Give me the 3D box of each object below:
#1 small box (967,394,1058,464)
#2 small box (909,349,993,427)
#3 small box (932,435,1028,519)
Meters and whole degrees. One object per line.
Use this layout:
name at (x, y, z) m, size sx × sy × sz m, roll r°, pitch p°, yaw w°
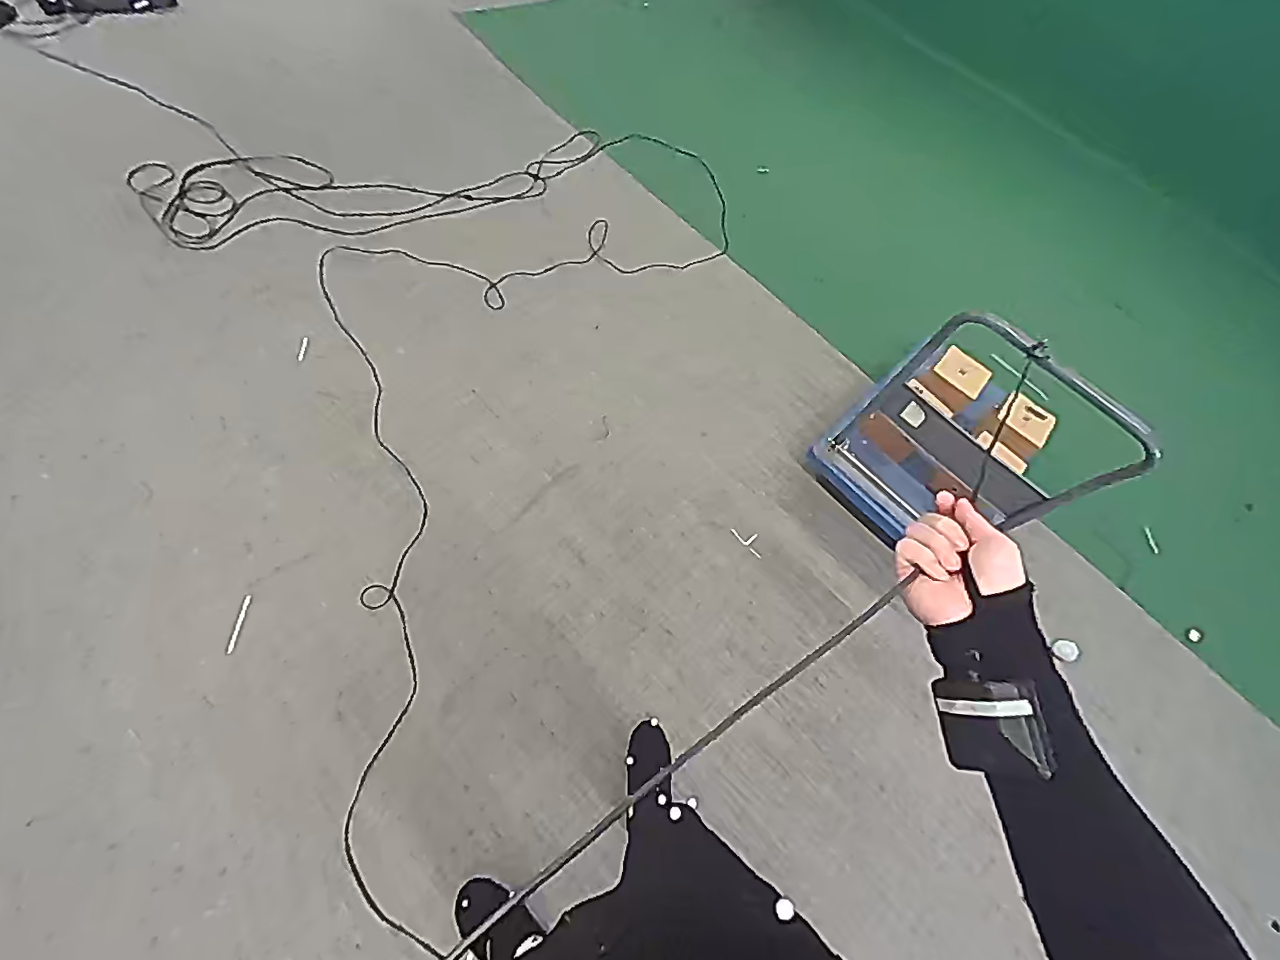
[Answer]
small box at (1.271, -0.155, 1.854) m, size 0.168 × 0.176 × 0.179 m, roll 42°, pitch 62°, yaw 12°
small box at (1.086, -0.319, 1.903) m, size 0.168 × 0.176 × 0.179 m, roll 43°, pitch 61°, yaw 11°
small box at (1.080, -0.007, 1.732) m, size 0.179 × 0.176 × 0.168 m, roll -37°, pitch 75°, yaw -26°
